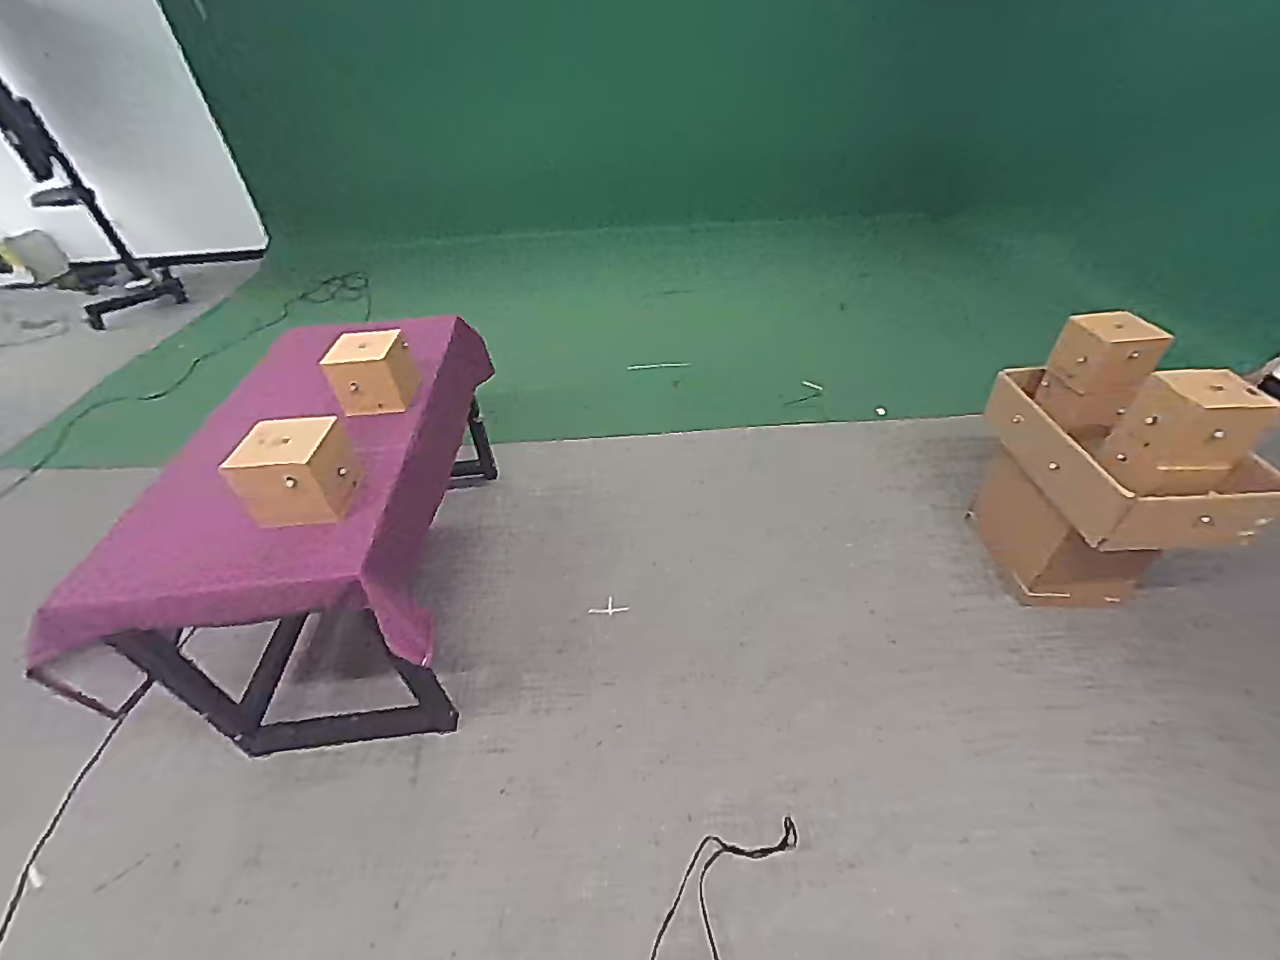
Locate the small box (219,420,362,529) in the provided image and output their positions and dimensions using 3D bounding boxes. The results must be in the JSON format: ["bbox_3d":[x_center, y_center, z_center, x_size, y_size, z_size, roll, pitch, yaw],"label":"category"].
[{"bbox_3d":[-0.733,-0.011,1.164,0.179,0.176,0.168,-4,40,0],"label":"small box"}]

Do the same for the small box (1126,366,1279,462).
[{"bbox_3d":[1.324,-0.156,1.293,0.179,0.176,0.168,-2,41,4],"label":"small box"}]

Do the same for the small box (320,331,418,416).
[{"bbox_3d":[-0.734,-0.288,1.489,0.168,0.176,0.179,-5,40,-1],"label":"small box"}]

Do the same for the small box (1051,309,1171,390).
[{"bbox_3d":[1.321,-0.368,1.540,0.179,0.176,0.168,-5,42,-2],"label":"small box"}]
